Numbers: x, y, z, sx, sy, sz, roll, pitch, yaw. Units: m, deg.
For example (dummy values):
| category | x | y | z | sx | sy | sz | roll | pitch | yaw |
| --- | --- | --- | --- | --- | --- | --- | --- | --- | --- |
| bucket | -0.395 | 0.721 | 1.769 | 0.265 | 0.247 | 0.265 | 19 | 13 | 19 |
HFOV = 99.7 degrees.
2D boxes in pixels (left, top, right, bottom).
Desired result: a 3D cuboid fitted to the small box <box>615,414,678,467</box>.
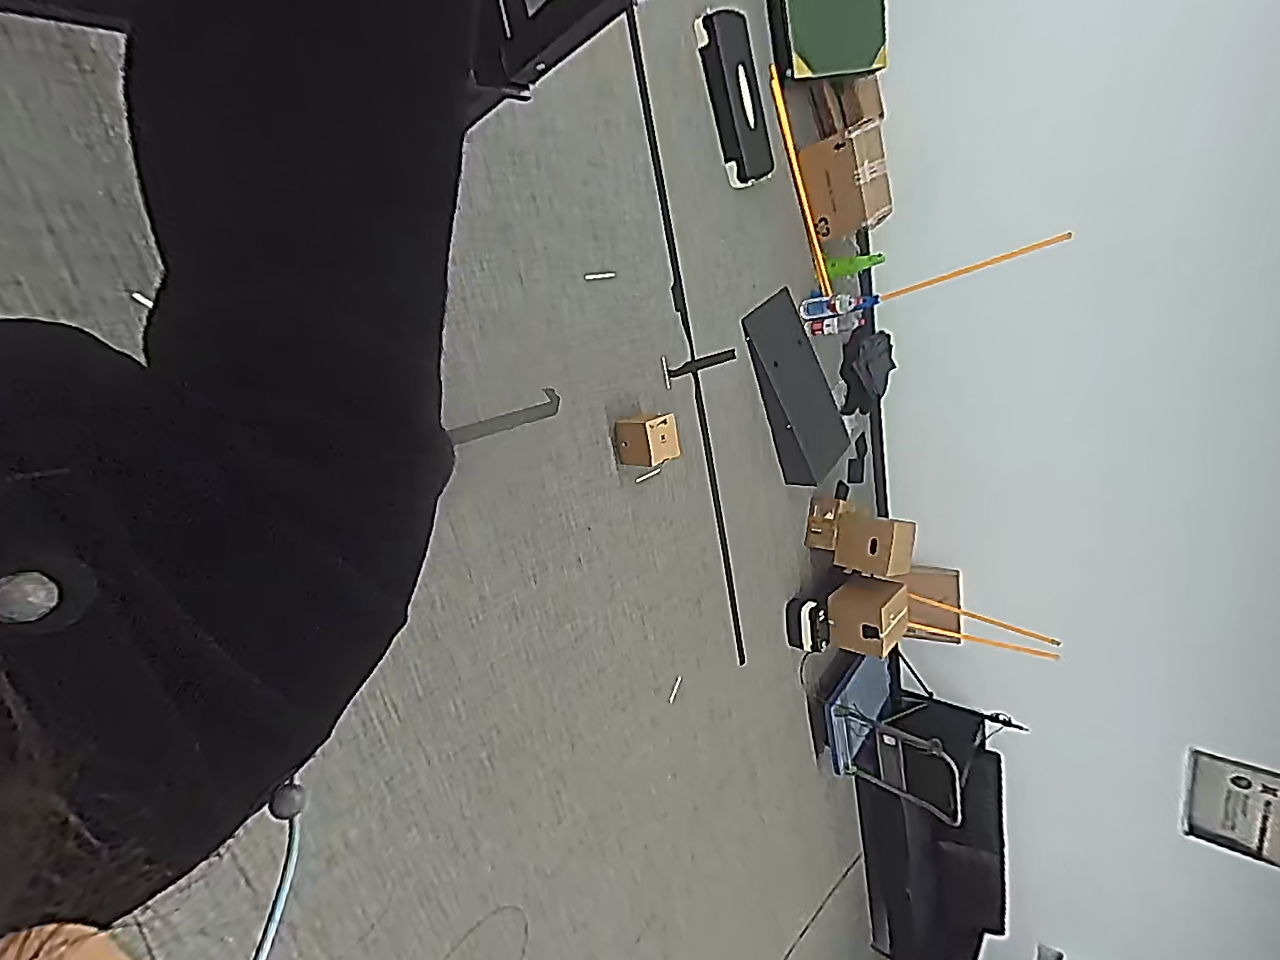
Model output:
| category | x | y | z | sx | sy | sz | roll | pitch | yaw |
| --- | --- | --- | --- | --- | --- | --- | --- | --- | --- |
| small box | 0.024 | -0.159 | 2.111 | 0.168 | 0.176 | 0.179 | -24 | 111 | -43 |
